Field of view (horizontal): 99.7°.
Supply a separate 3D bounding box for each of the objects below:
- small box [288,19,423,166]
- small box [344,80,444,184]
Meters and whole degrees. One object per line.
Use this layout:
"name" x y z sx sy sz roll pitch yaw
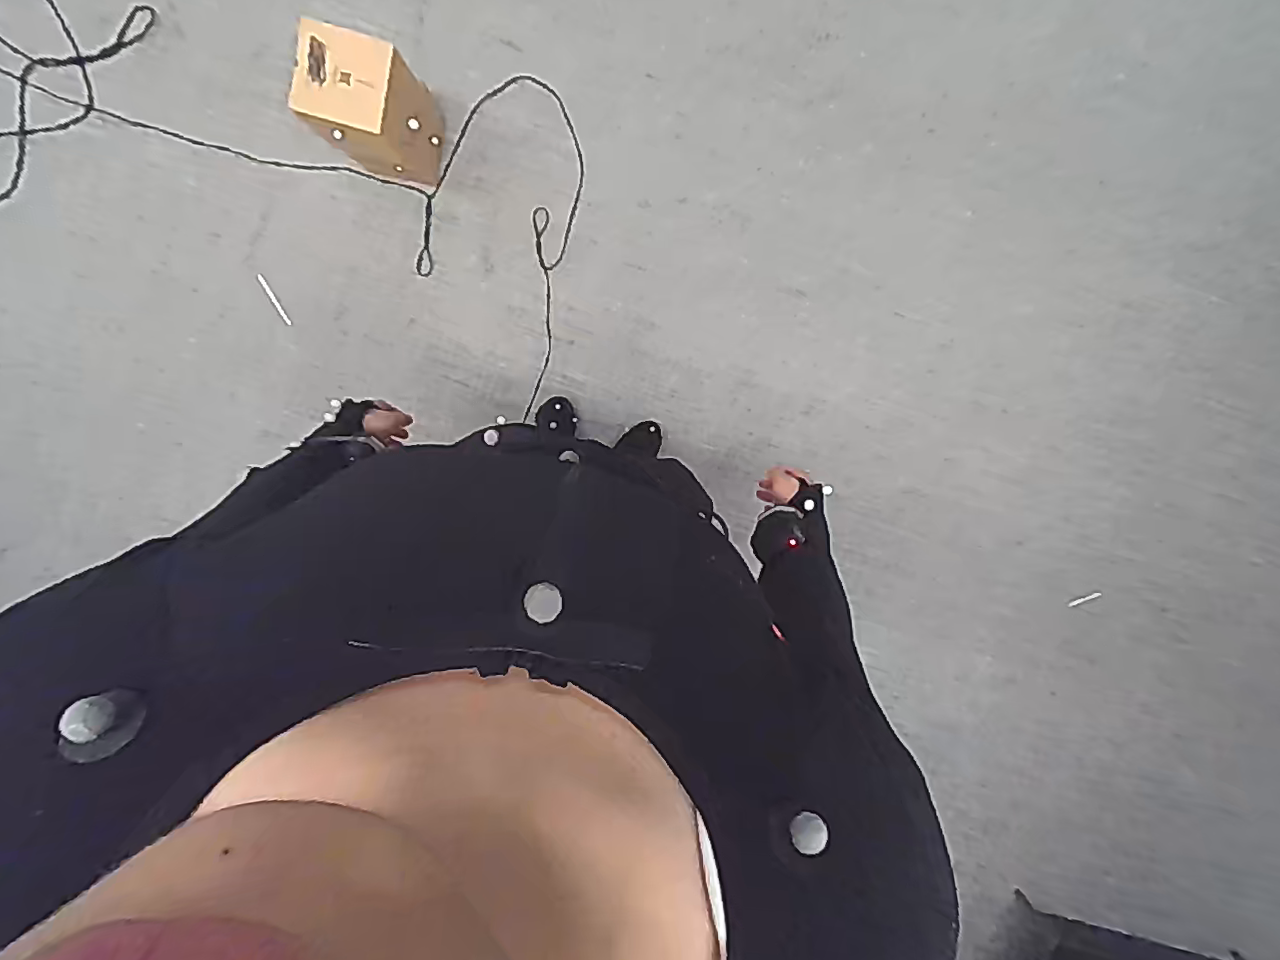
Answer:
"small box" -0.569 -0.771 1.099 0.179 0.176 0.168 14 99 -5
"small box" -0.574 -0.814 1.258 0.179 0.176 0.168 10 98 -3
